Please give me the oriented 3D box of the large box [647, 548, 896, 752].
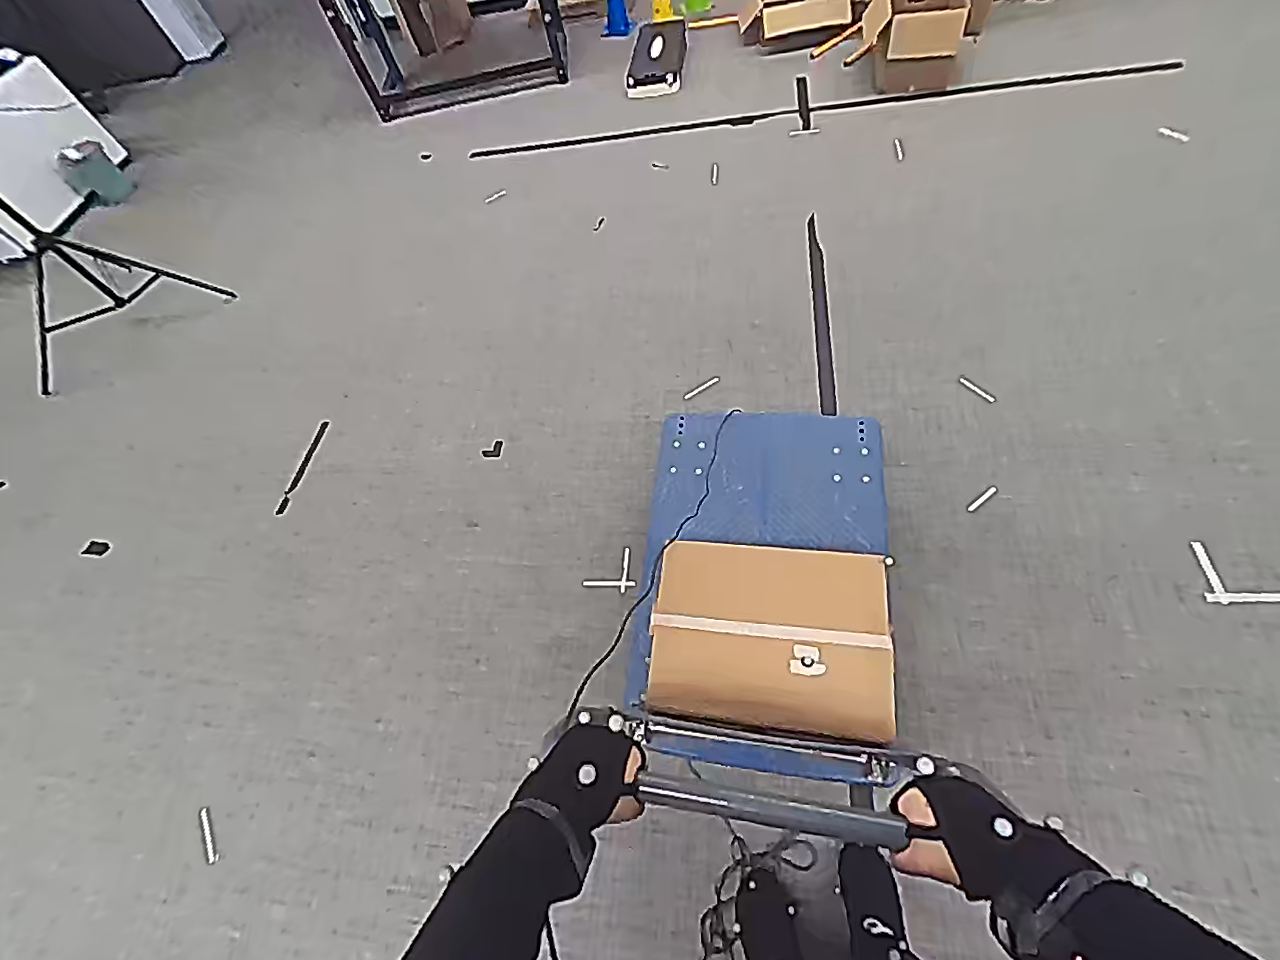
[{"bbox_3d":[0.243,0.343,1.071,0.408,0.320,0.320,3,65,11],"label":"large box"}]
